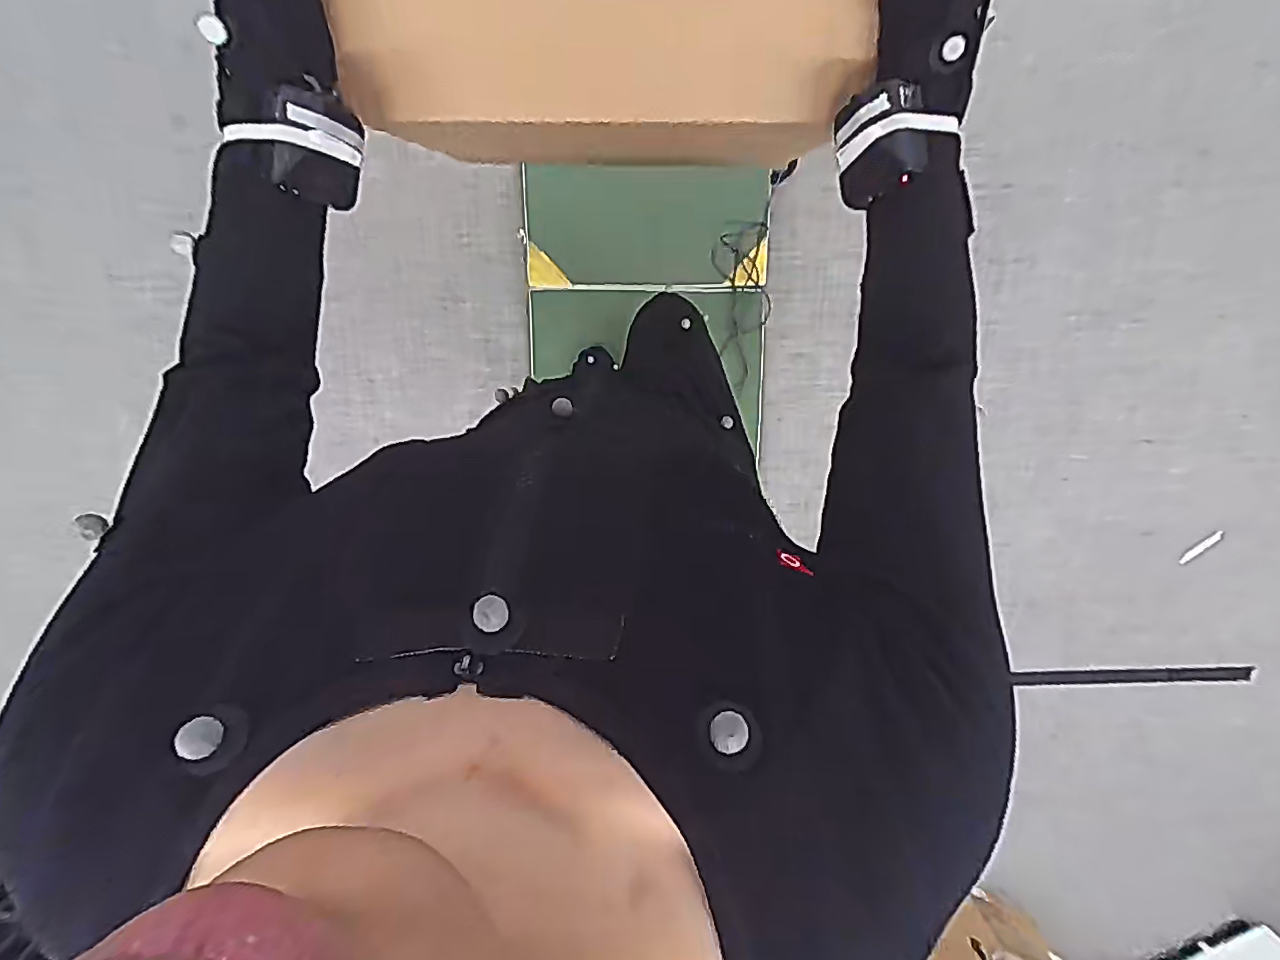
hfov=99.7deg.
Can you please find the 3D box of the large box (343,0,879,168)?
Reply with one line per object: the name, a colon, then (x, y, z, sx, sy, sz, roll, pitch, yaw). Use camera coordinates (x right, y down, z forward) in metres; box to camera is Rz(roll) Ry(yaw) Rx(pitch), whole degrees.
large box: (-0.023, -0.489, 0.501, 0.408, 0.320, 0.320, 0, 114, 0)
